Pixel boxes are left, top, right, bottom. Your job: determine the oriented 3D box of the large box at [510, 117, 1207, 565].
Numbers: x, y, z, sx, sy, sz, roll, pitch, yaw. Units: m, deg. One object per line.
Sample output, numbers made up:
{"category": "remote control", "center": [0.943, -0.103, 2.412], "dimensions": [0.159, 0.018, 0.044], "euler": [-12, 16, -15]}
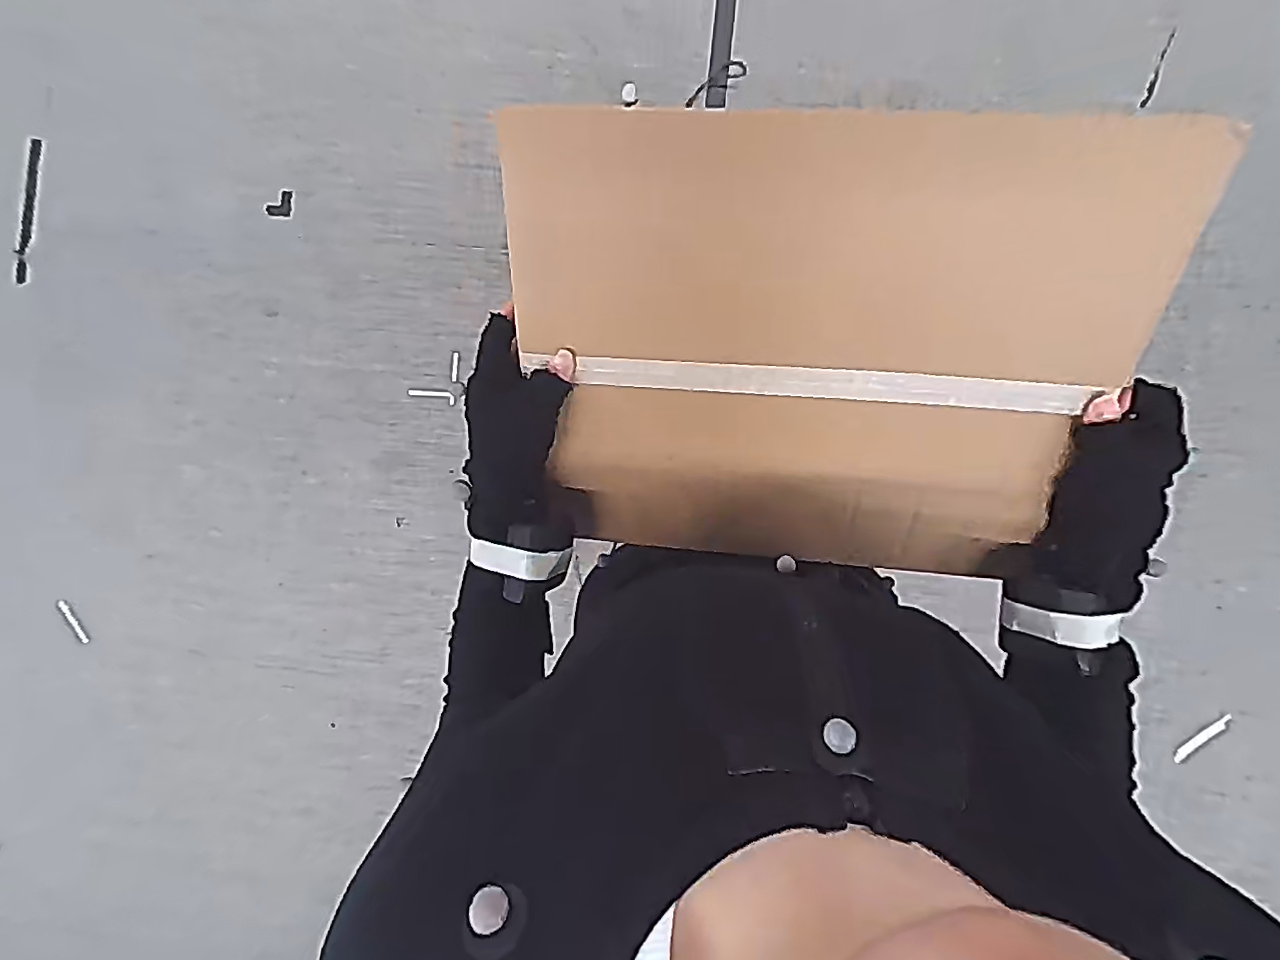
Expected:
{"category": "large box", "center": [0.130, -0.148, 0.517], "dimensions": [0.408, 0.320, 0.320], "euler": [5, 122, 5]}
